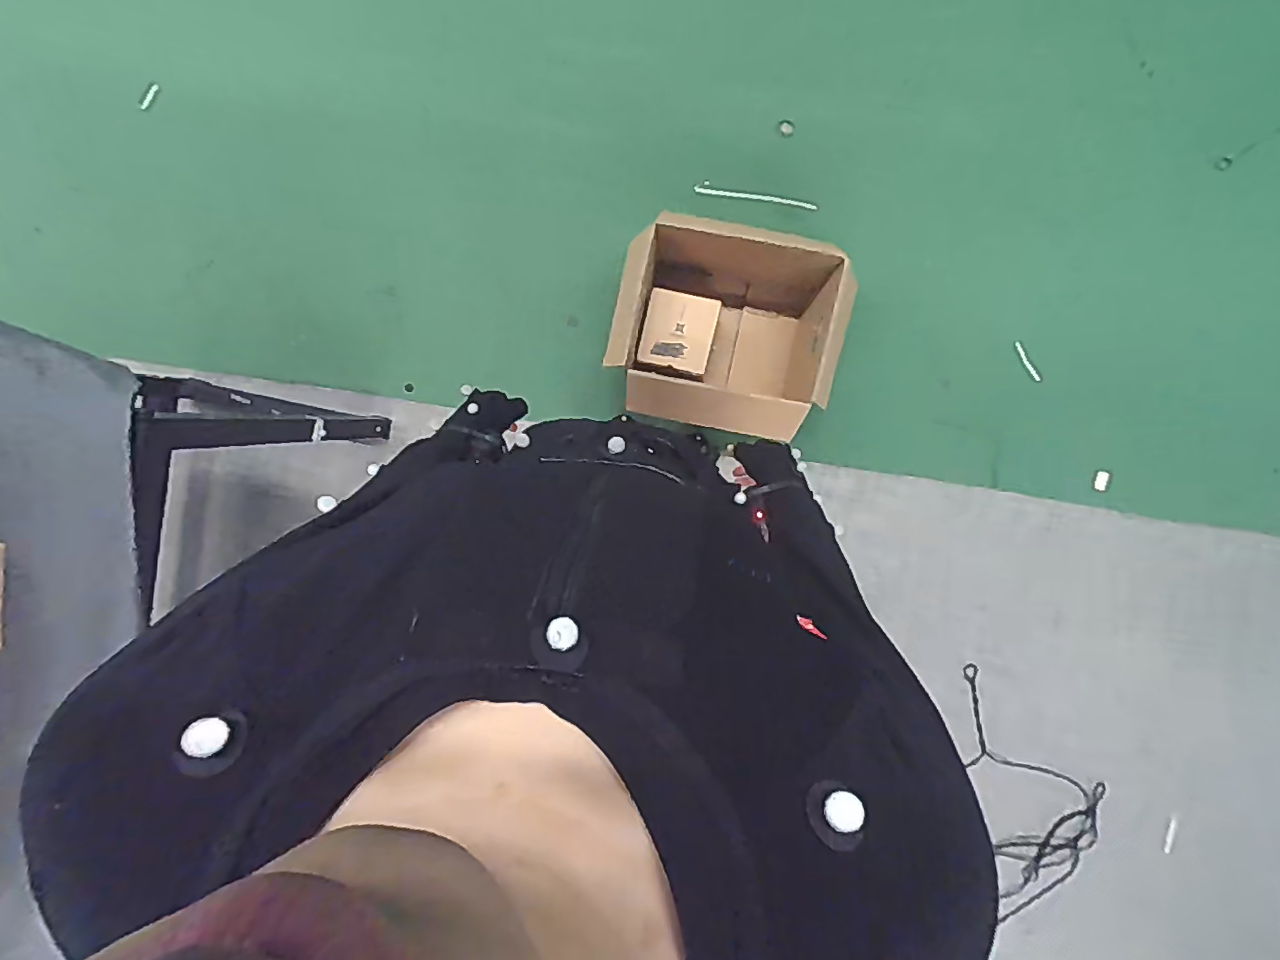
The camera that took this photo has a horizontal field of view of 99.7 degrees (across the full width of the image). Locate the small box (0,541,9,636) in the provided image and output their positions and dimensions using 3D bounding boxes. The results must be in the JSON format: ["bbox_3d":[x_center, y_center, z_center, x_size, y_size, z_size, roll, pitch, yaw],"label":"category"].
[{"bbox_3d":[-1.017,0.157,0.712,0.179,0.176,0.168,10,97,1],"label":"small box"}]
